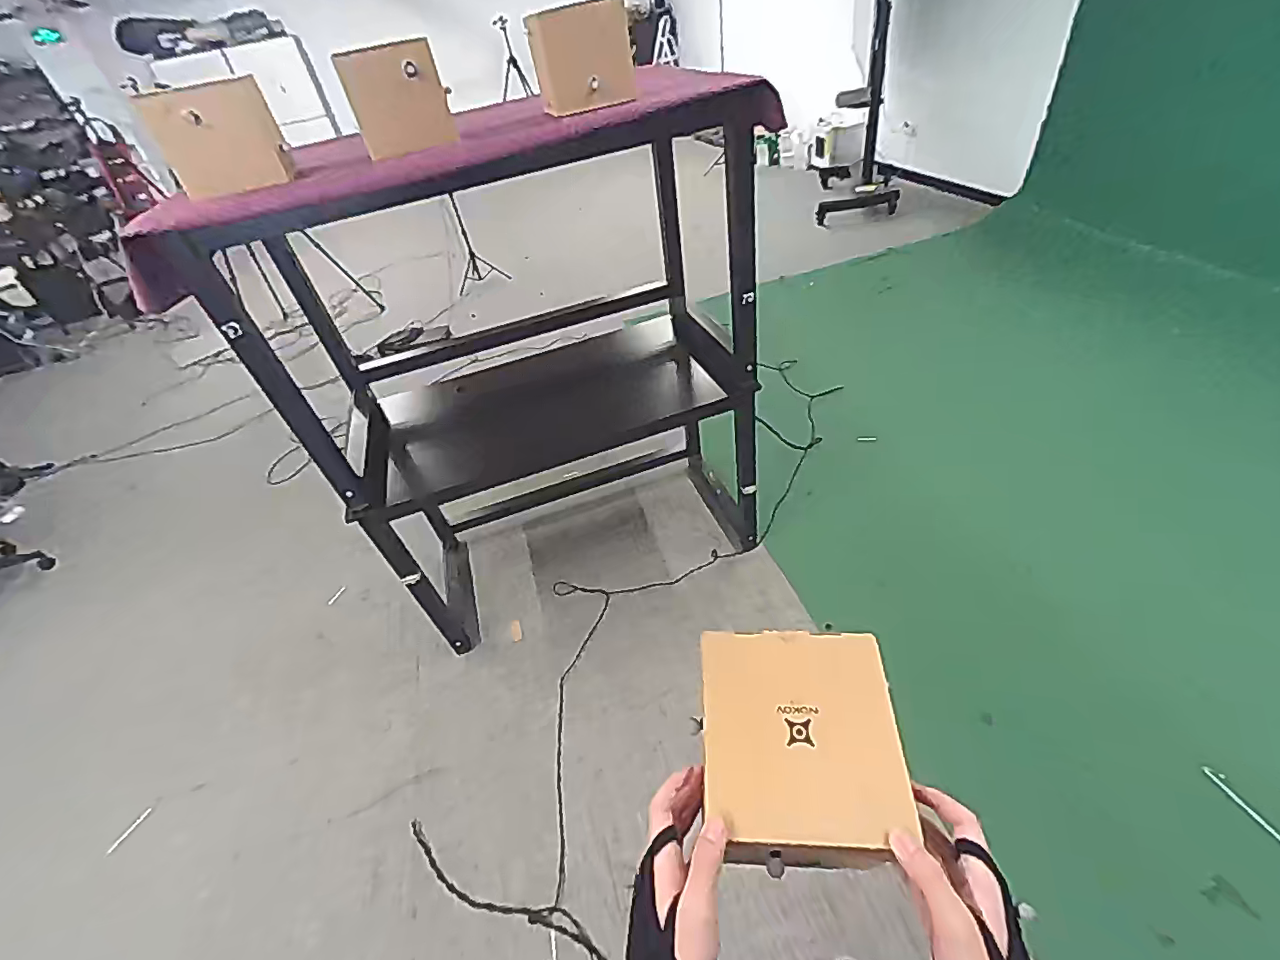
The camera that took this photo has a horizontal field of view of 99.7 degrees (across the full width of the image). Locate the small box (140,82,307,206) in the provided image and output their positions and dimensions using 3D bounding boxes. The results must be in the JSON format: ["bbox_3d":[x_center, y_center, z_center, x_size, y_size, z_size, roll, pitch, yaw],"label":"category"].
[{"bbox_3d":[-0.778,-0.642,1.034,0.179,0.176,0.168,-20,42,-11],"label":"small box"}]

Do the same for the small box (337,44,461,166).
[{"bbox_3d":[-0.470,-0.754,1.087,0.179,0.176,0.168,-18,41,-7],"label":"small box"}]

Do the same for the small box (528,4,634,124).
[{"bbox_3d":[-0.119,-0.868,1.132,0.179,0.176,0.168,-18,40,-7],"label":"small box"}]
